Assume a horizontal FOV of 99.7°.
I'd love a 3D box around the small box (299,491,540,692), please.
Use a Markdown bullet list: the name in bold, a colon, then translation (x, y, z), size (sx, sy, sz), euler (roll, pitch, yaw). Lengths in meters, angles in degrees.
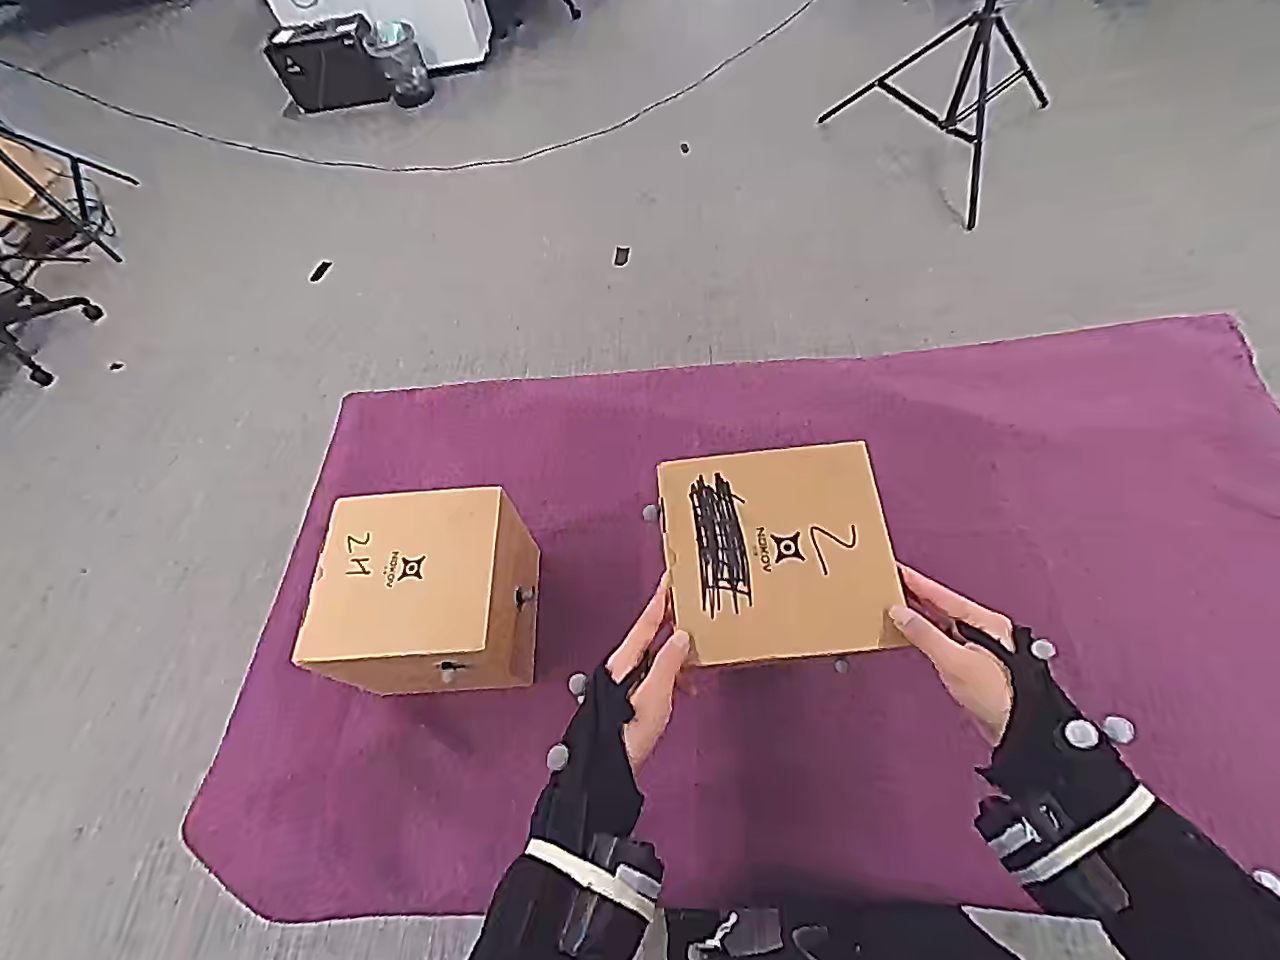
- **small box**: translation (-0.213, 0.126, 0.582), size (0.179, 0.176, 0.168), euler (-4, 58, 3)
